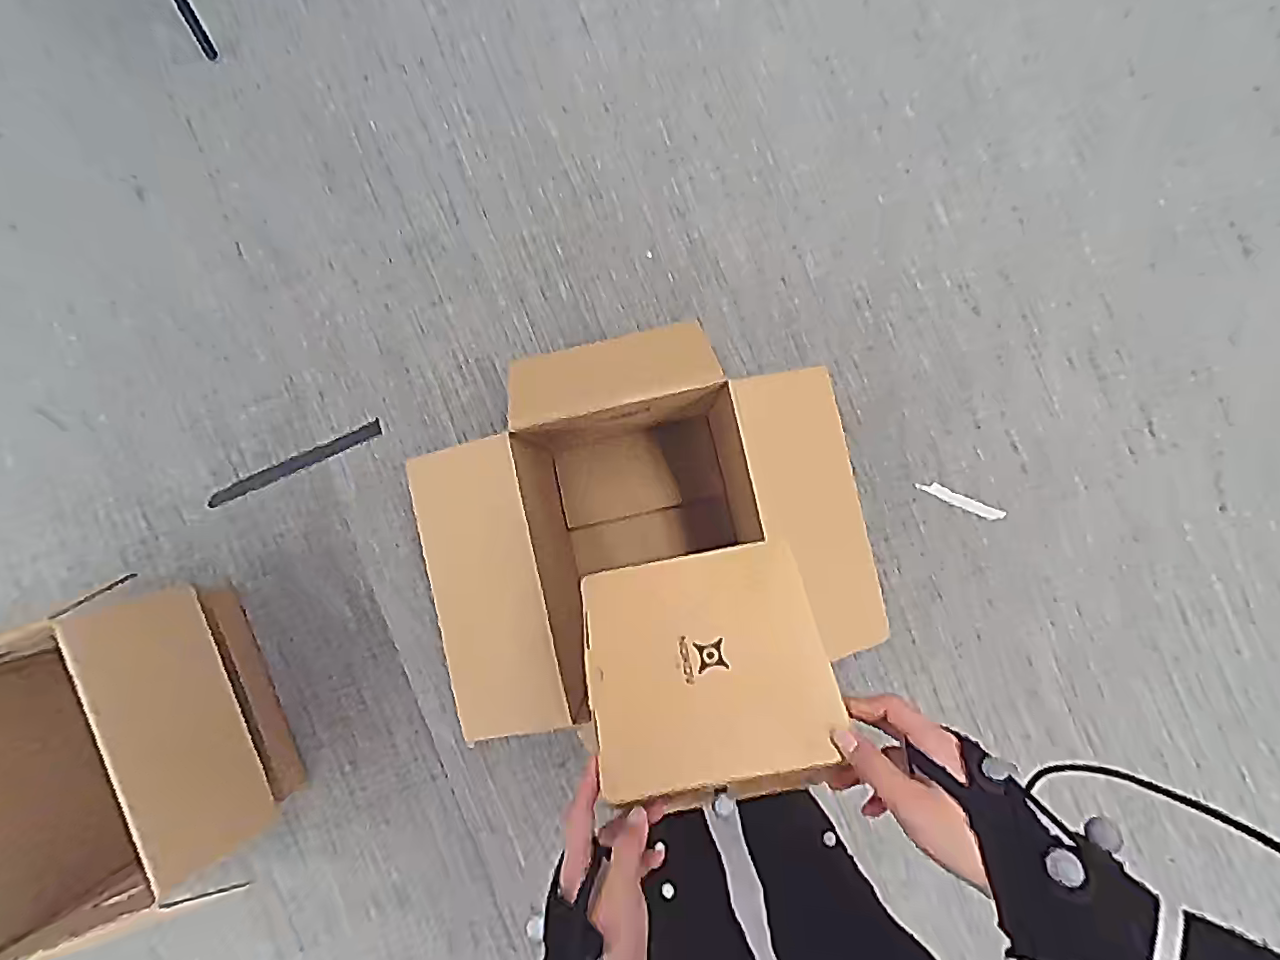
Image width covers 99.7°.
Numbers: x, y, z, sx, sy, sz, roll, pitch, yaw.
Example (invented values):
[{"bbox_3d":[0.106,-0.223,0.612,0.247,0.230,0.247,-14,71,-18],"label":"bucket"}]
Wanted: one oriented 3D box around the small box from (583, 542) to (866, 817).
[{"bbox_3d":[0.059,0.175,0.457,0.179,0.176,0.168,-12,55,2],"label":"small box"}]
